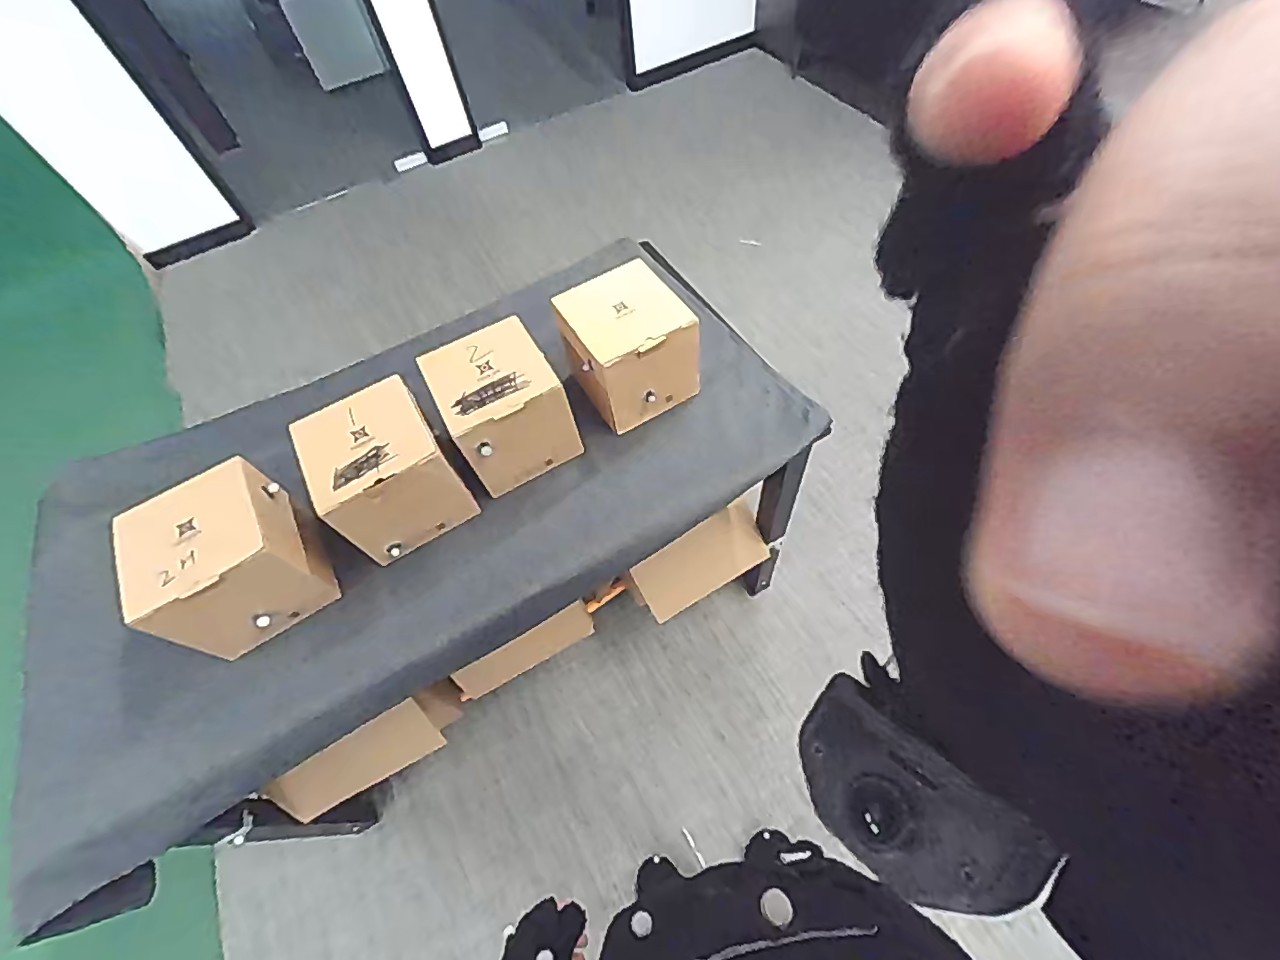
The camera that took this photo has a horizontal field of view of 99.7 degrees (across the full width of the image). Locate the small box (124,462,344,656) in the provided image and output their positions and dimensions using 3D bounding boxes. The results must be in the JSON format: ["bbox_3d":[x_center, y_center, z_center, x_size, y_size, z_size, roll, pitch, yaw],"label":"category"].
[{"bbox_3d":[-0.552,0.114,0.750,0.168,0.176,0.179,-32,61,-13],"label":"small box"}]

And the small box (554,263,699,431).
[{"bbox_3d":[-0.018,-0.214,0.889,0.168,0.176,0.179,-30,60,-11],"label":"small box"}]
